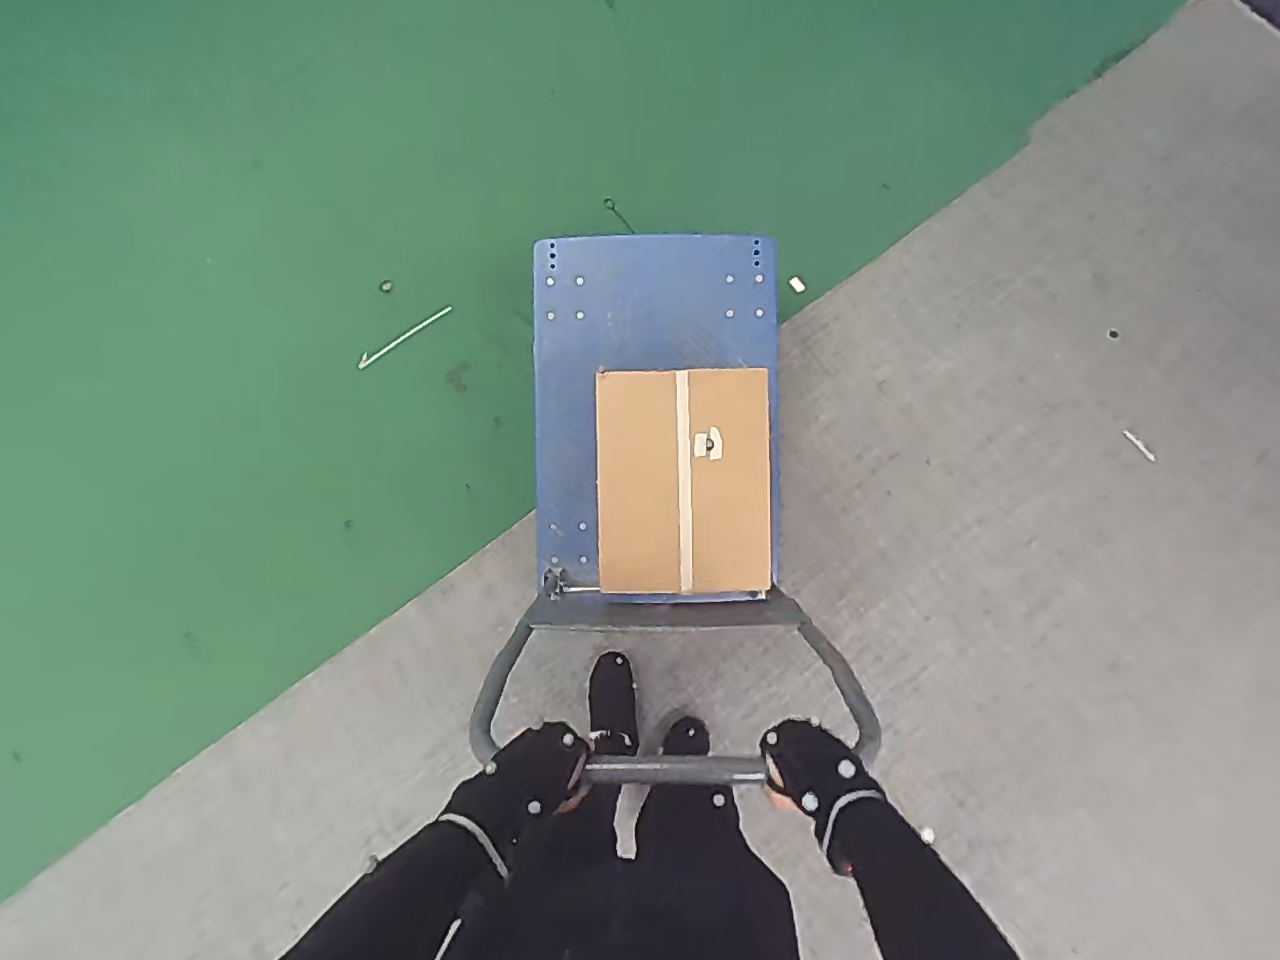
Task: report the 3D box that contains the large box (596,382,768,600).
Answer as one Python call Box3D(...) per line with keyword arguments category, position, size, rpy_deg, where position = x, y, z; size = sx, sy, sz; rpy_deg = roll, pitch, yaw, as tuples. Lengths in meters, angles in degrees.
Box3D(category="large box", position=(0.080, 0.022, 1.146), size=(0.320, 0.320, 0.408), rpy_deg=(-1, 91, 0))
